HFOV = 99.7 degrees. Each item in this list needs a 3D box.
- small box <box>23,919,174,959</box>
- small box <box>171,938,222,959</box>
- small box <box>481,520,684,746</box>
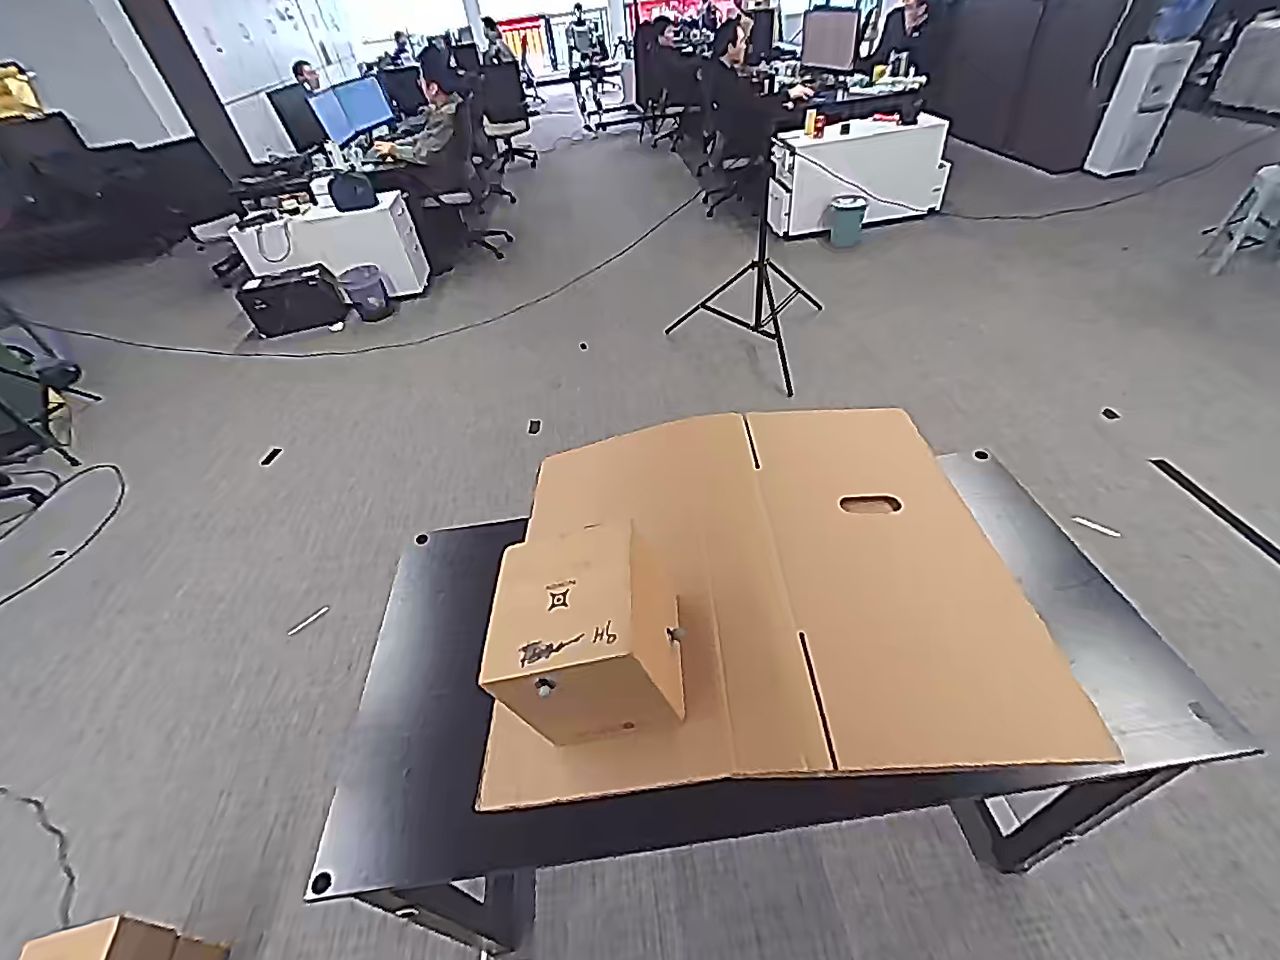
[{"bbox_3d":[-1.027,0.959,1.003,0.168,0.176,0.179,-13,42,-6],"label":"small box"},{"bbox_3d":[-1.008,1.081,1.109,0.168,0.176,0.179,-11,43,-3],"label":"small box"},{"bbox_3d":[-0.054,0.178,0.626,0.168,0.176,0.179,-16,41,13],"label":"small box"}]
